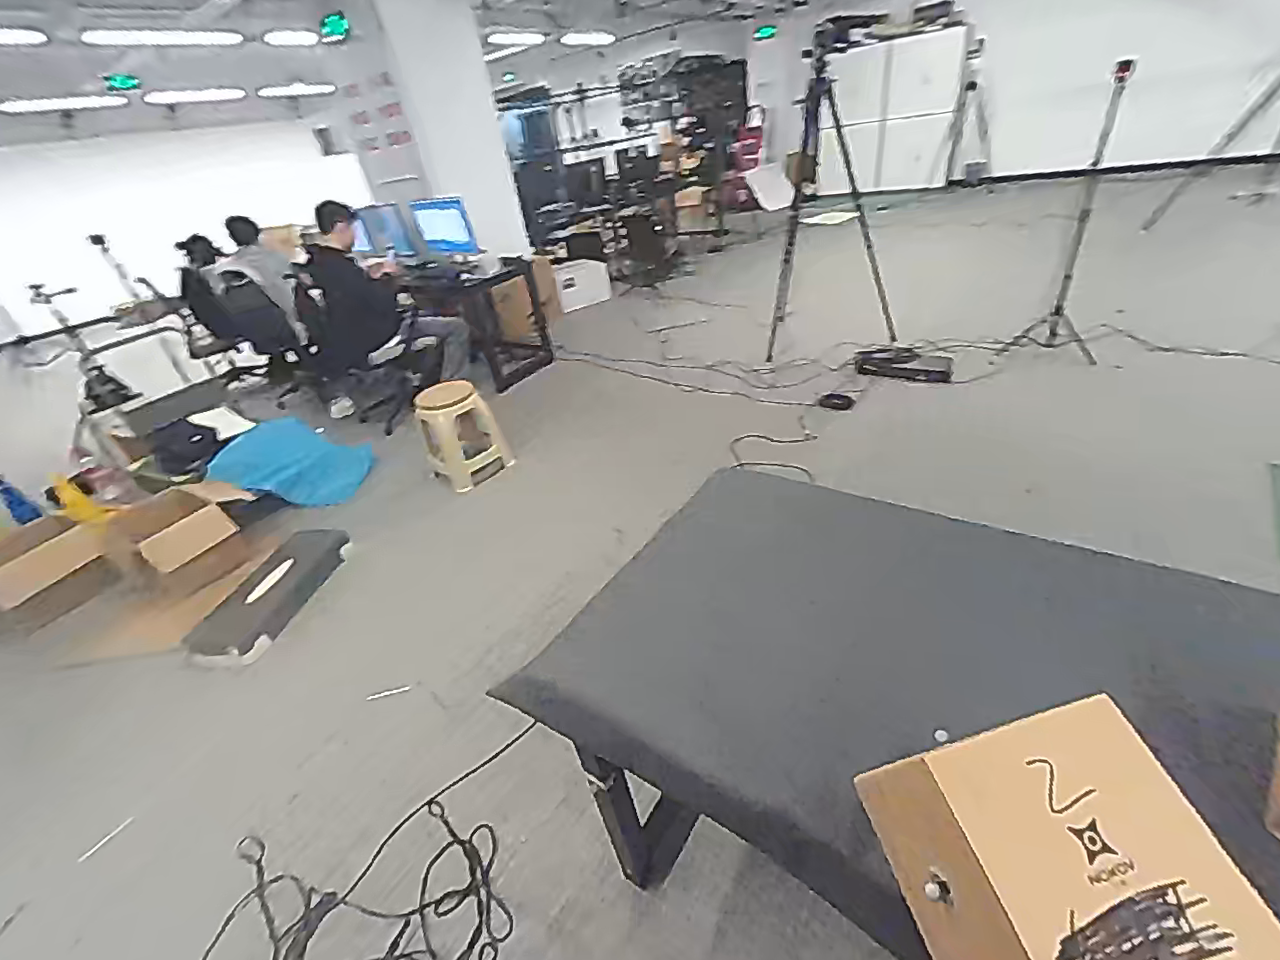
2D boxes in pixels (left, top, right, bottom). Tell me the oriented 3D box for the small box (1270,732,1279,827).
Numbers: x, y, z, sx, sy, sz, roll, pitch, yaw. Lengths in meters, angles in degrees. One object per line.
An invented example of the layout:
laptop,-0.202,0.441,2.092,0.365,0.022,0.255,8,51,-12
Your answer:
small box,0.725,0.266,0.484,0.179,0.176,0.168,-34,40,-32
